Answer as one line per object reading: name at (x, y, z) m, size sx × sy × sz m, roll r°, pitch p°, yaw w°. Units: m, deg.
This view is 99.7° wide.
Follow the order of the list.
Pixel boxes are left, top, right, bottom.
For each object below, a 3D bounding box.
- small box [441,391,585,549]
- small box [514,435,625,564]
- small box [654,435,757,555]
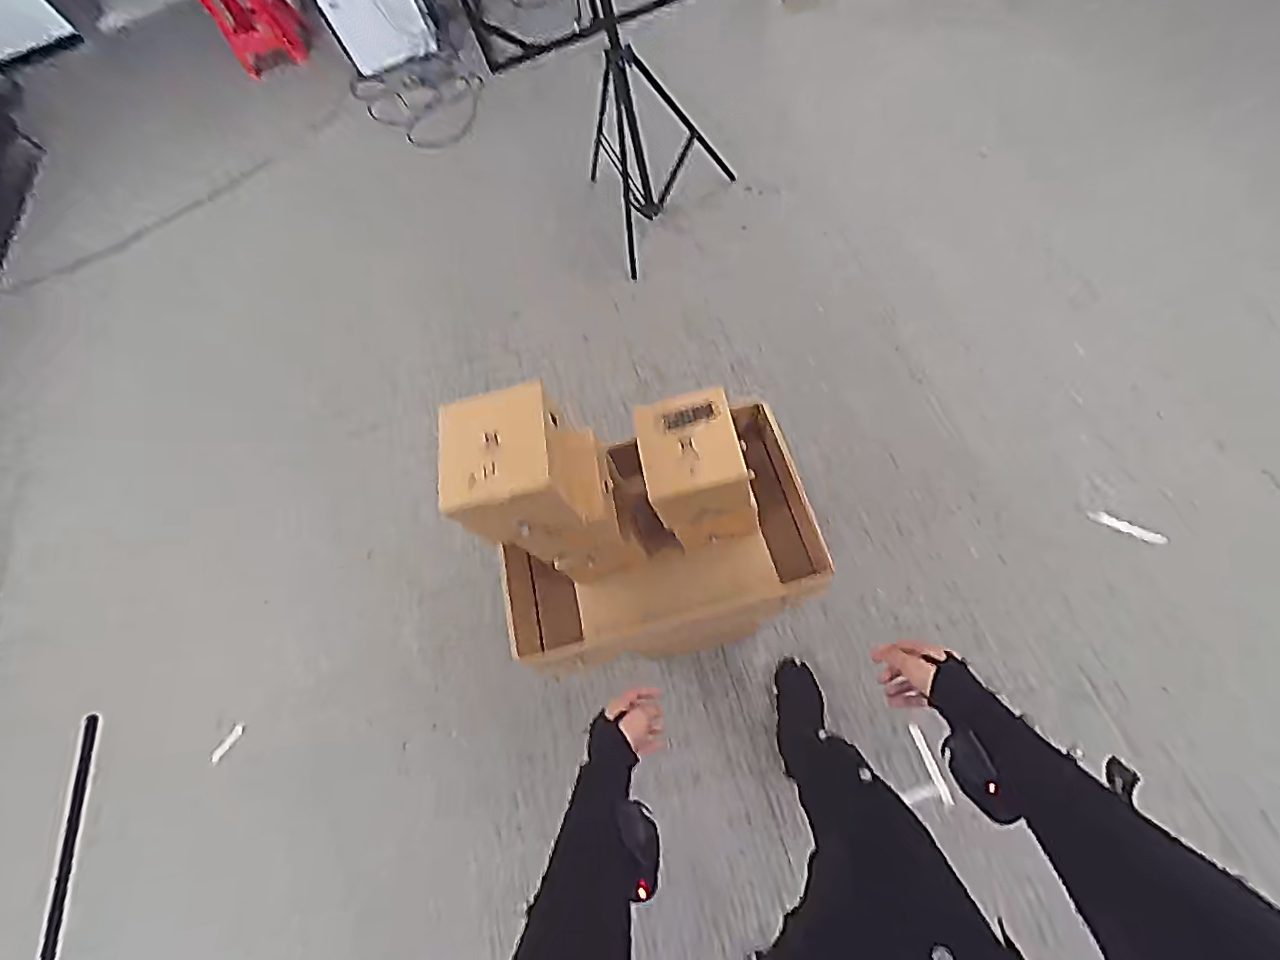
small box at (-0.193, -0.009, 0.848) m, size 0.168 × 0.176 × 0.179 m, roll -13°, pitch 66°, yaw 7°
small box at (-0.131, 0.045, 0.993) m, size 0.168 × 0.176 × 0.179 m, roll -14°, pitch 64°, yaw 6°
small box at (0.138, 0.037, 1.119) m, size 0.168 × 0.176 × 0.179 m, roll -17°, pitch 65°, yaw 7°
